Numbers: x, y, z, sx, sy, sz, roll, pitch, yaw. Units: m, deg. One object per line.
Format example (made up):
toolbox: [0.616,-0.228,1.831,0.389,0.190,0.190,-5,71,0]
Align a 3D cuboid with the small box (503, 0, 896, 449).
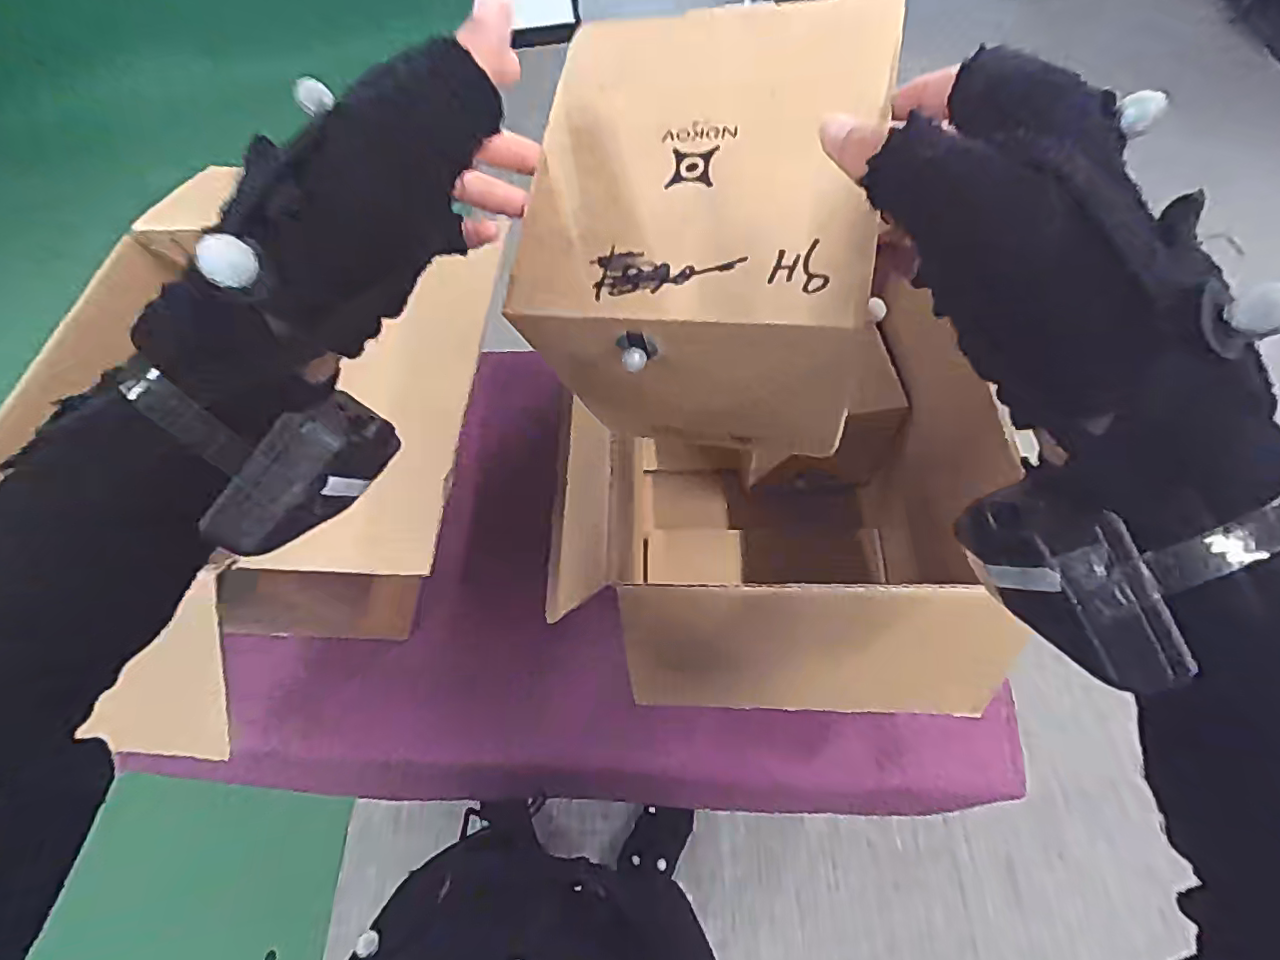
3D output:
small box: [0.046,-0.135,0.334,0.168,0.176,0.179,8,77,17]
